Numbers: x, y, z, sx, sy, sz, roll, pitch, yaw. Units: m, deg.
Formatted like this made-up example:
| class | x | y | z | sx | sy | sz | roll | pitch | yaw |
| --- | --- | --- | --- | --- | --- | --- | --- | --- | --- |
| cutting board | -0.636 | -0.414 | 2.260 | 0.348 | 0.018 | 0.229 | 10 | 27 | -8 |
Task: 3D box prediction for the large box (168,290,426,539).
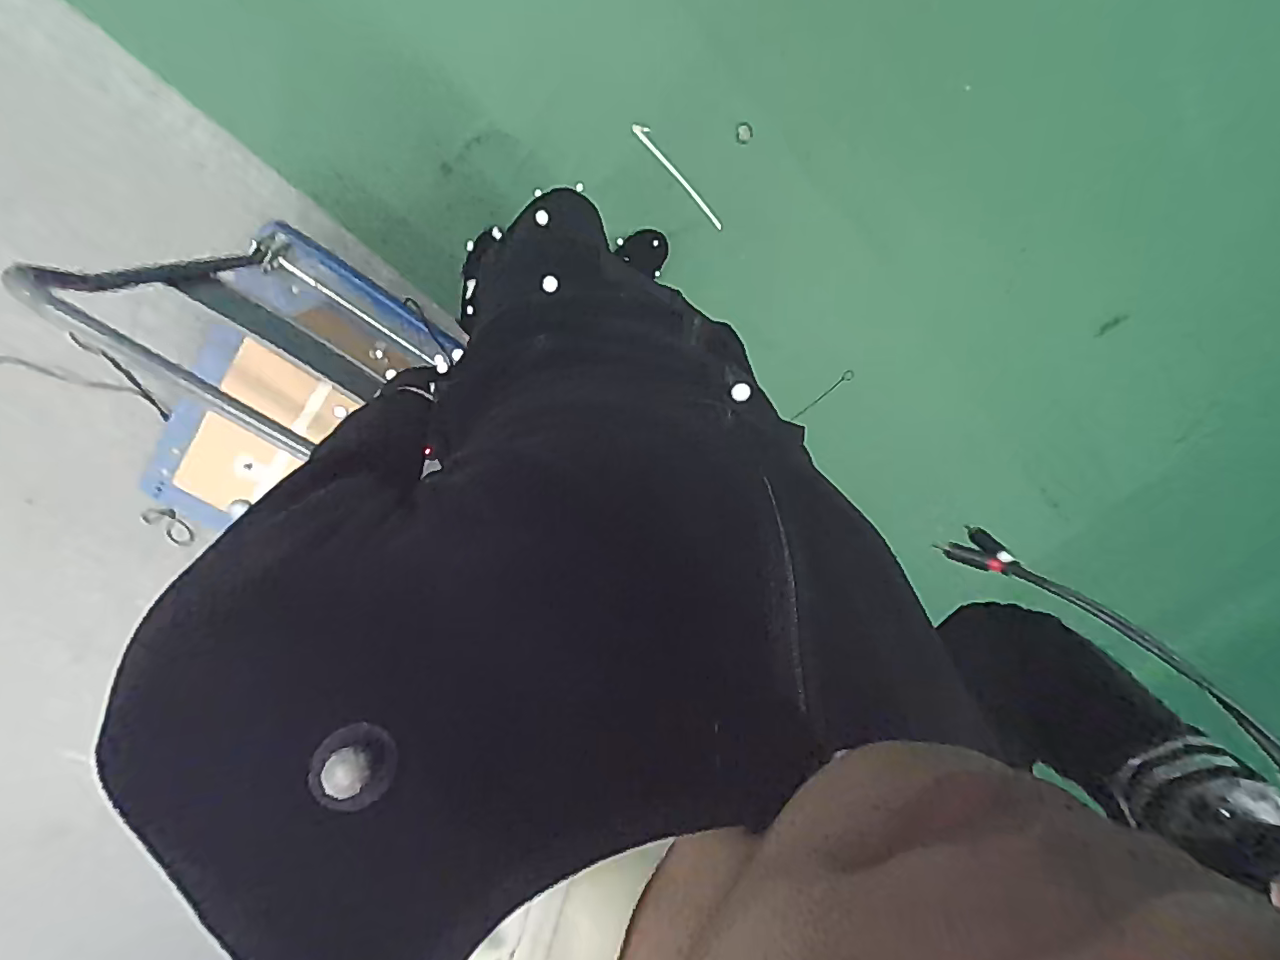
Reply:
| class | x | y | z | sx | sy | sz | roll | pitch | yaw |
| --- | --- | --- | --- | --- | --- | --- | --- | --- | --- |
| large box | -0.757 | -0.153 | 1.241 | 0.320 | 0.320 | 0.408 | 35 | 112 | -22 |
